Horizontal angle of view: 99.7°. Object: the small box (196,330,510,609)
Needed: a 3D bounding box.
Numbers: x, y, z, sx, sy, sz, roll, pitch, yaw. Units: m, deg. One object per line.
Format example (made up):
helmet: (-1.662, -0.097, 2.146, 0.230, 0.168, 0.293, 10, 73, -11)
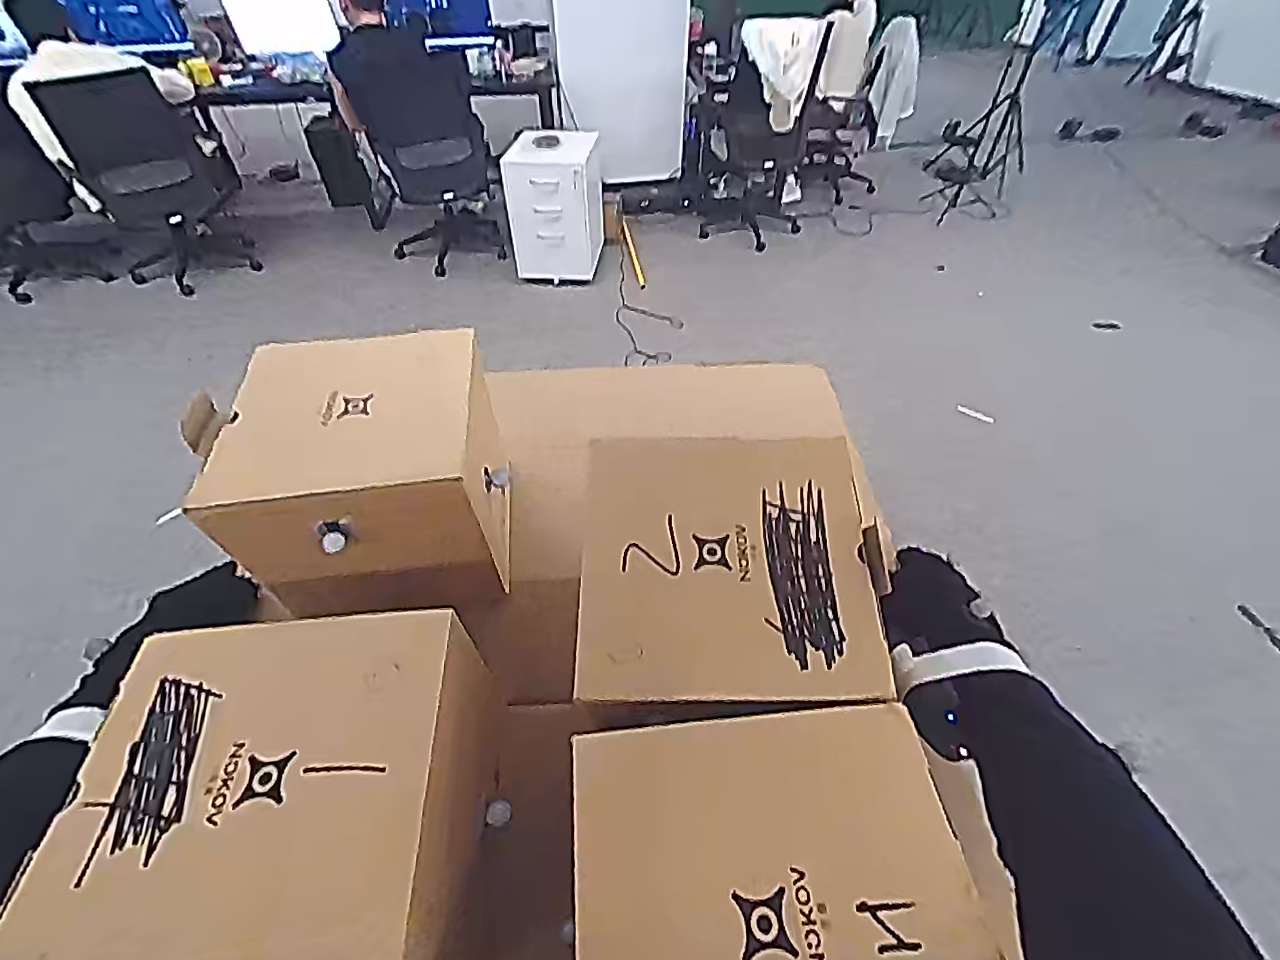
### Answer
small box: (-0.213, -0.005, 0.468, 0.179, 0.176, 0.168, -7, 51, -4)
